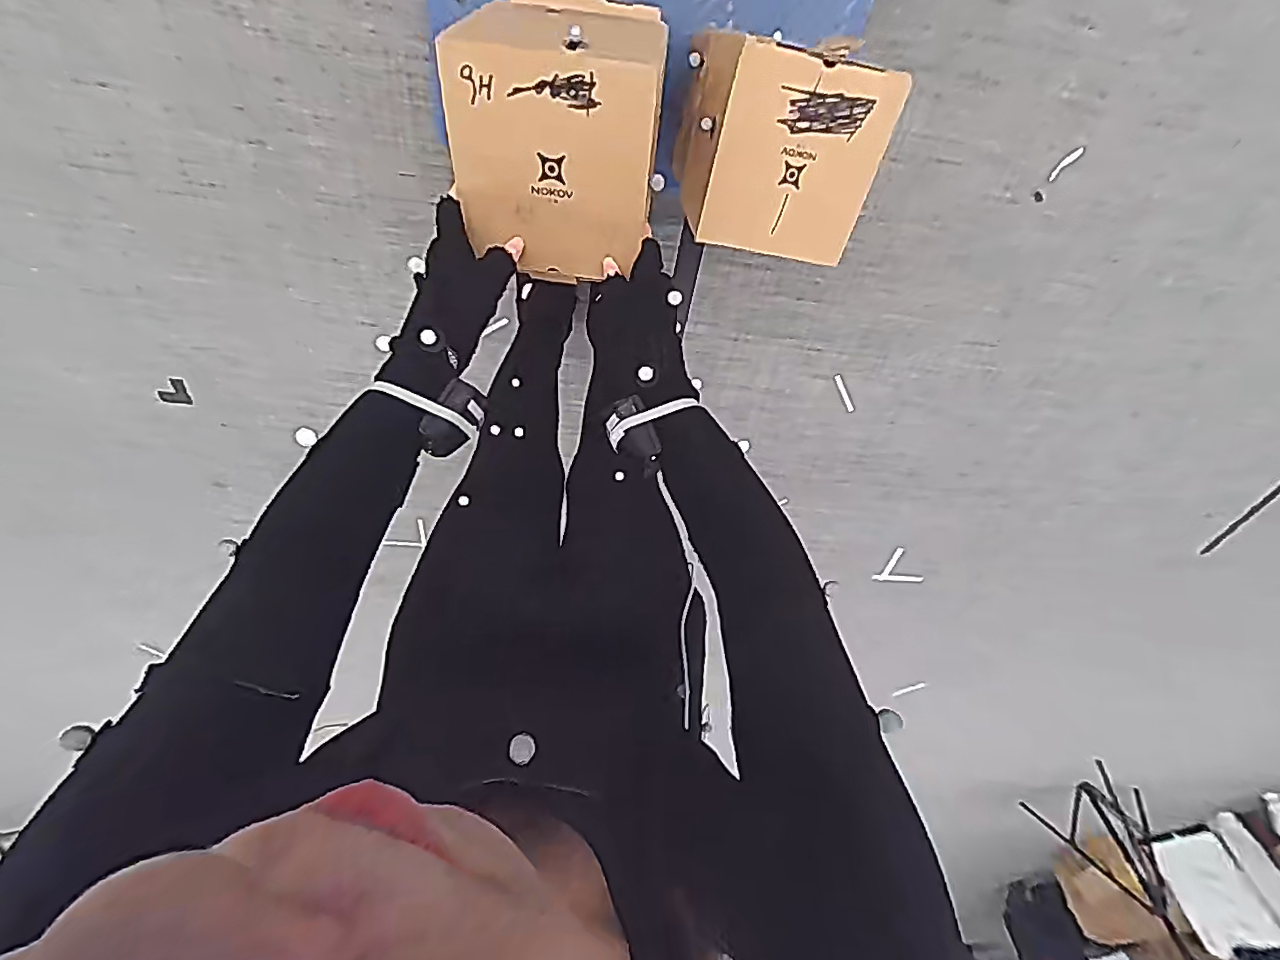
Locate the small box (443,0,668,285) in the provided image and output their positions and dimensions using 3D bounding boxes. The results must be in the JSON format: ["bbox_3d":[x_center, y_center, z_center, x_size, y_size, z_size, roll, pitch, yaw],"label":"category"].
[{"bbox_3d":[-0.066,-0.316,0.511,0.168,0.176,0.179,7,139,-2],"label":"small box"}]

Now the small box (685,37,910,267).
[{"bbox_3d":[0.152,-0.364,0.598,0.168,0.176,0.179,7,130,-8],"label":"small box"}]
